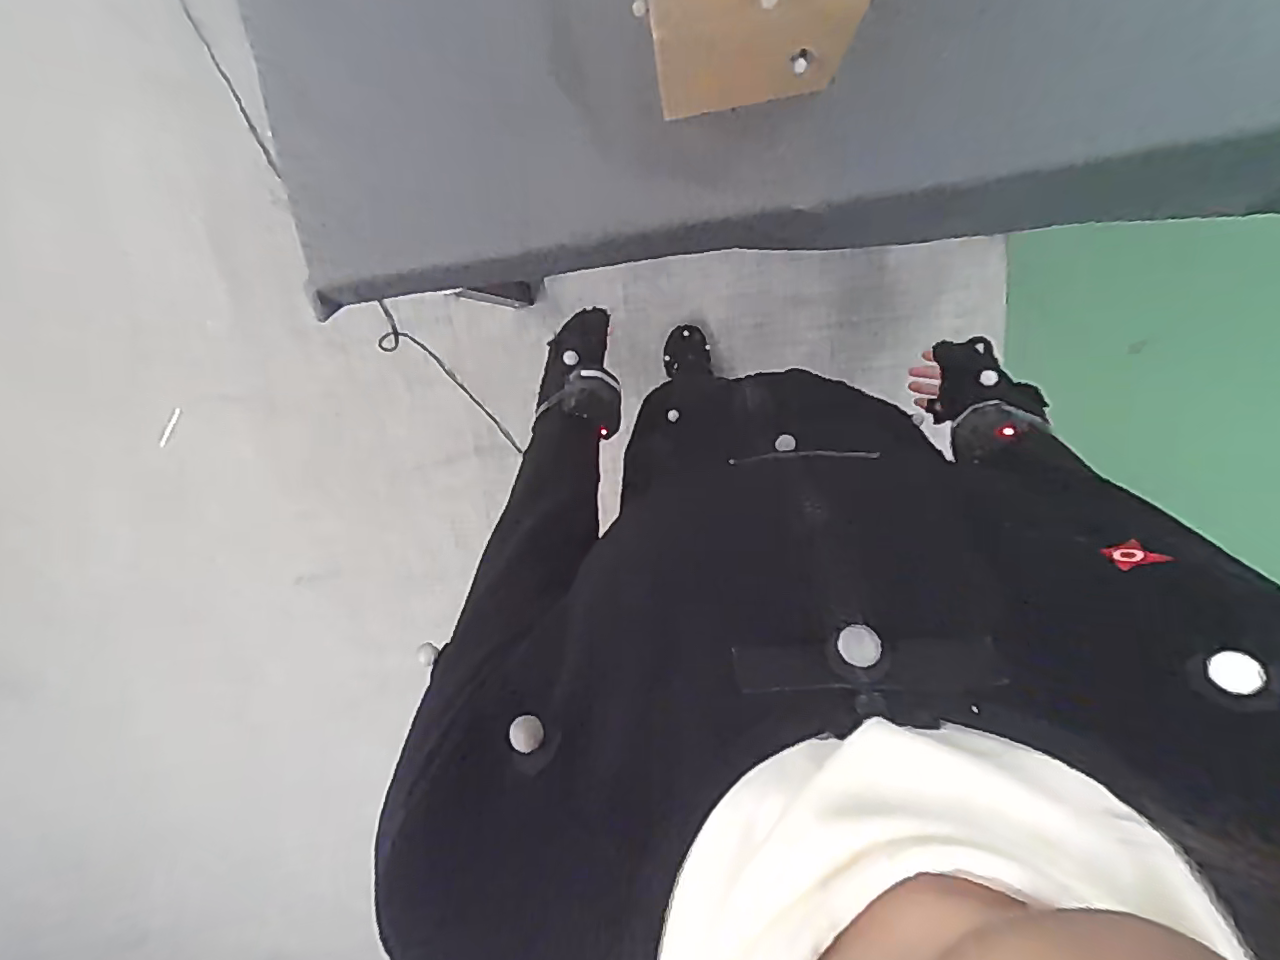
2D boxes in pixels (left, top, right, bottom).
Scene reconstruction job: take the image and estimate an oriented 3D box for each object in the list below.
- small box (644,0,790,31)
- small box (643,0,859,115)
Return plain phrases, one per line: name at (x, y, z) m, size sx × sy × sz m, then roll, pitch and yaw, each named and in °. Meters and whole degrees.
small box at (0.073, -0.432, 0.335) m, size 0.179 × 0.176 × 0.168 m, roll -9°, pitch 103°, yaw 8°
small box at (0.088, -0.469, 0.491) m, size 0.179 × 0.176 × 0.168 m, roll -7°, pitch 102°, yaw 8°
